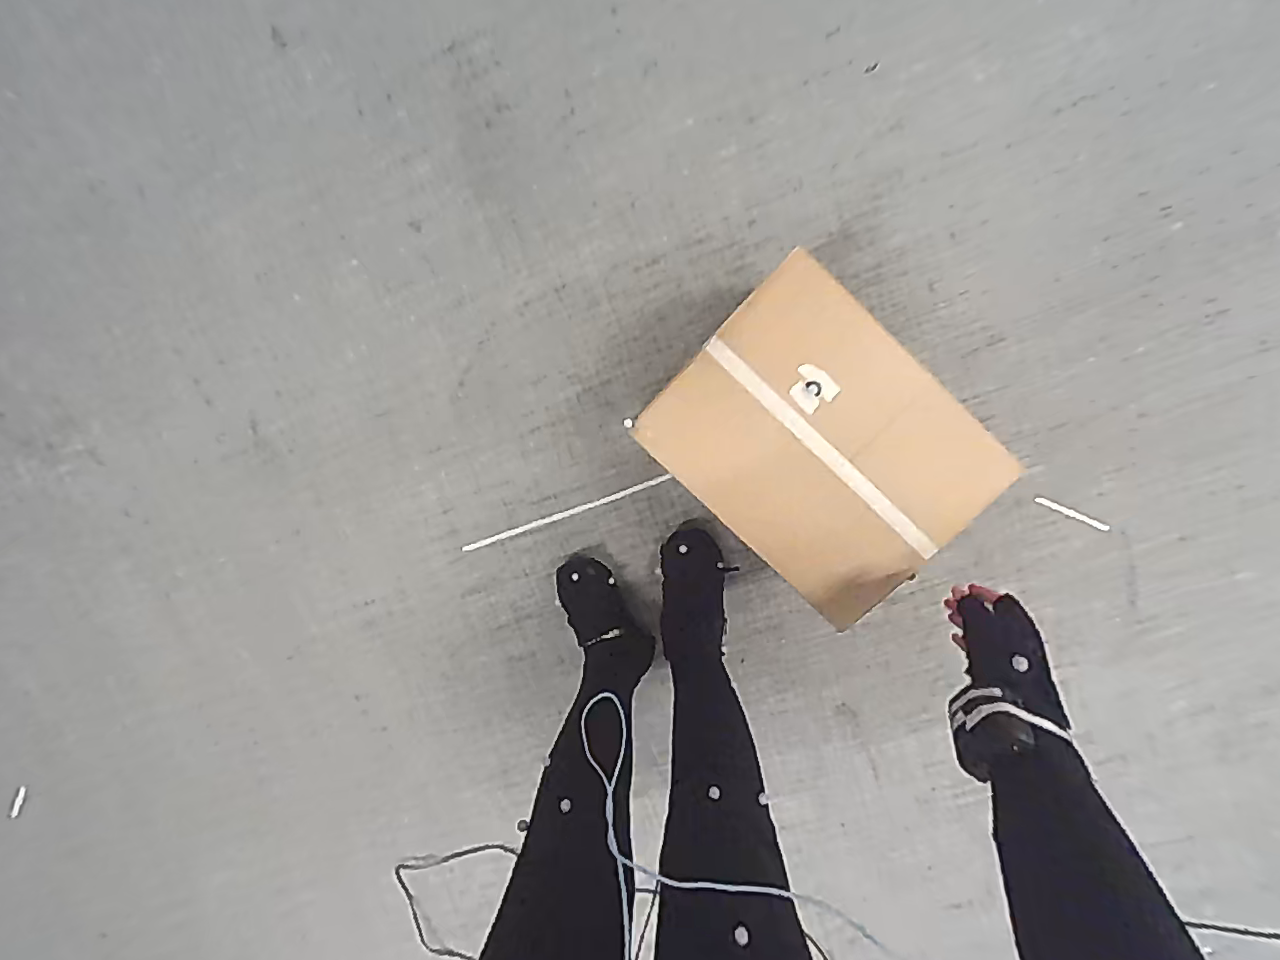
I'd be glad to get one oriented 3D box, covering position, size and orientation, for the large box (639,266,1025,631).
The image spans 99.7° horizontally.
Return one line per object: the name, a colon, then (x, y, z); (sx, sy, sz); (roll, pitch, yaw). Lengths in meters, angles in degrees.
large box: (0.261, -0.054, 0.851); (0.408, 0.320, 0.320); (43, 101, -3)
